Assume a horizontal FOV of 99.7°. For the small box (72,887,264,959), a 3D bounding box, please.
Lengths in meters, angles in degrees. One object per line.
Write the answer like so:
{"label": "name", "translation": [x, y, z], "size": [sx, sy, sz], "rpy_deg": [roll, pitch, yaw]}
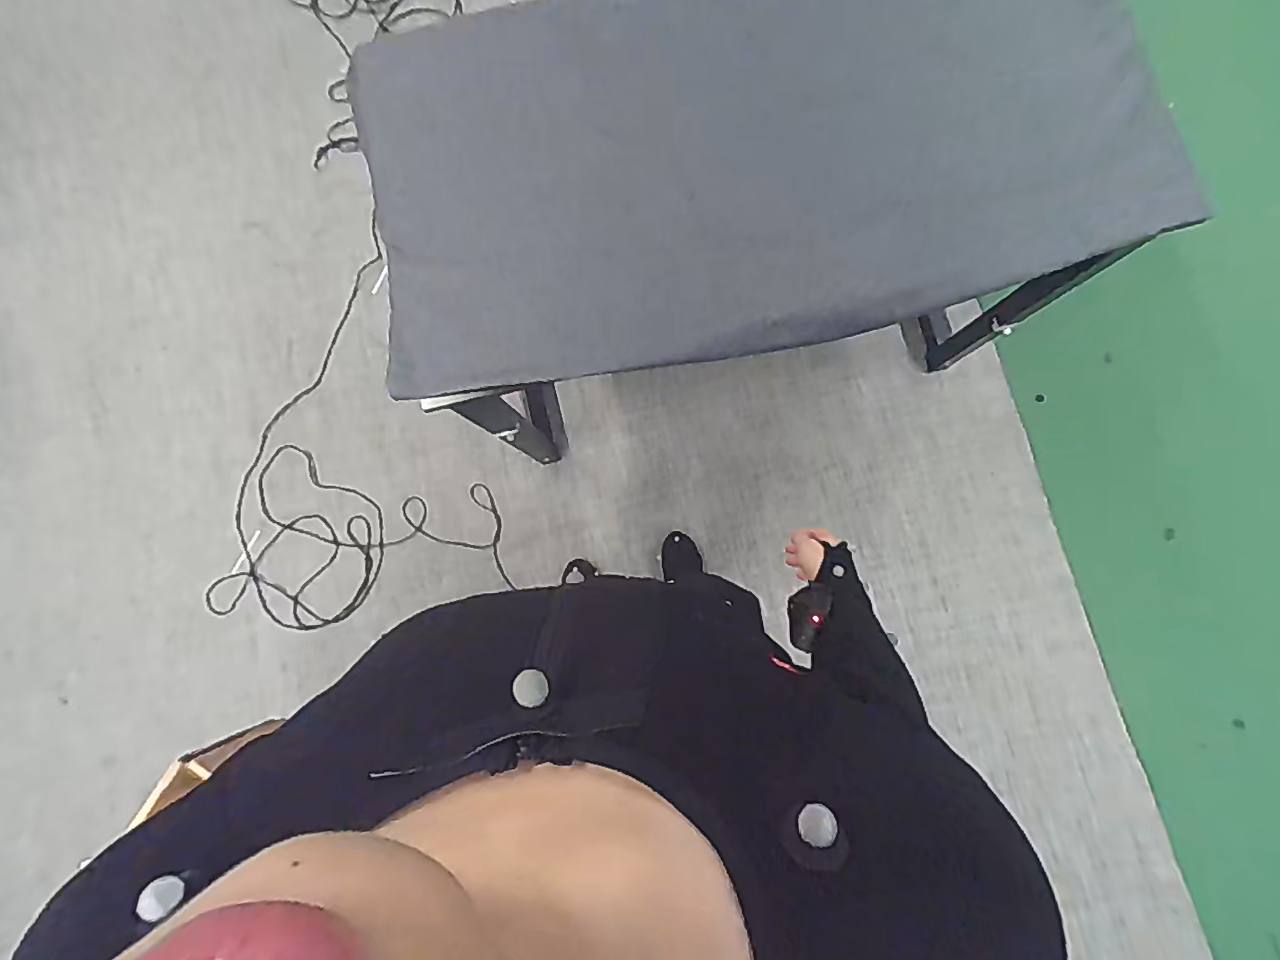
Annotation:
{"label": "small box", "translation": [-0.551, 0.596, 0.592], "size": [0.168, 0.176, 0.179], "rpy_deg": [-23, 87, 1]}
